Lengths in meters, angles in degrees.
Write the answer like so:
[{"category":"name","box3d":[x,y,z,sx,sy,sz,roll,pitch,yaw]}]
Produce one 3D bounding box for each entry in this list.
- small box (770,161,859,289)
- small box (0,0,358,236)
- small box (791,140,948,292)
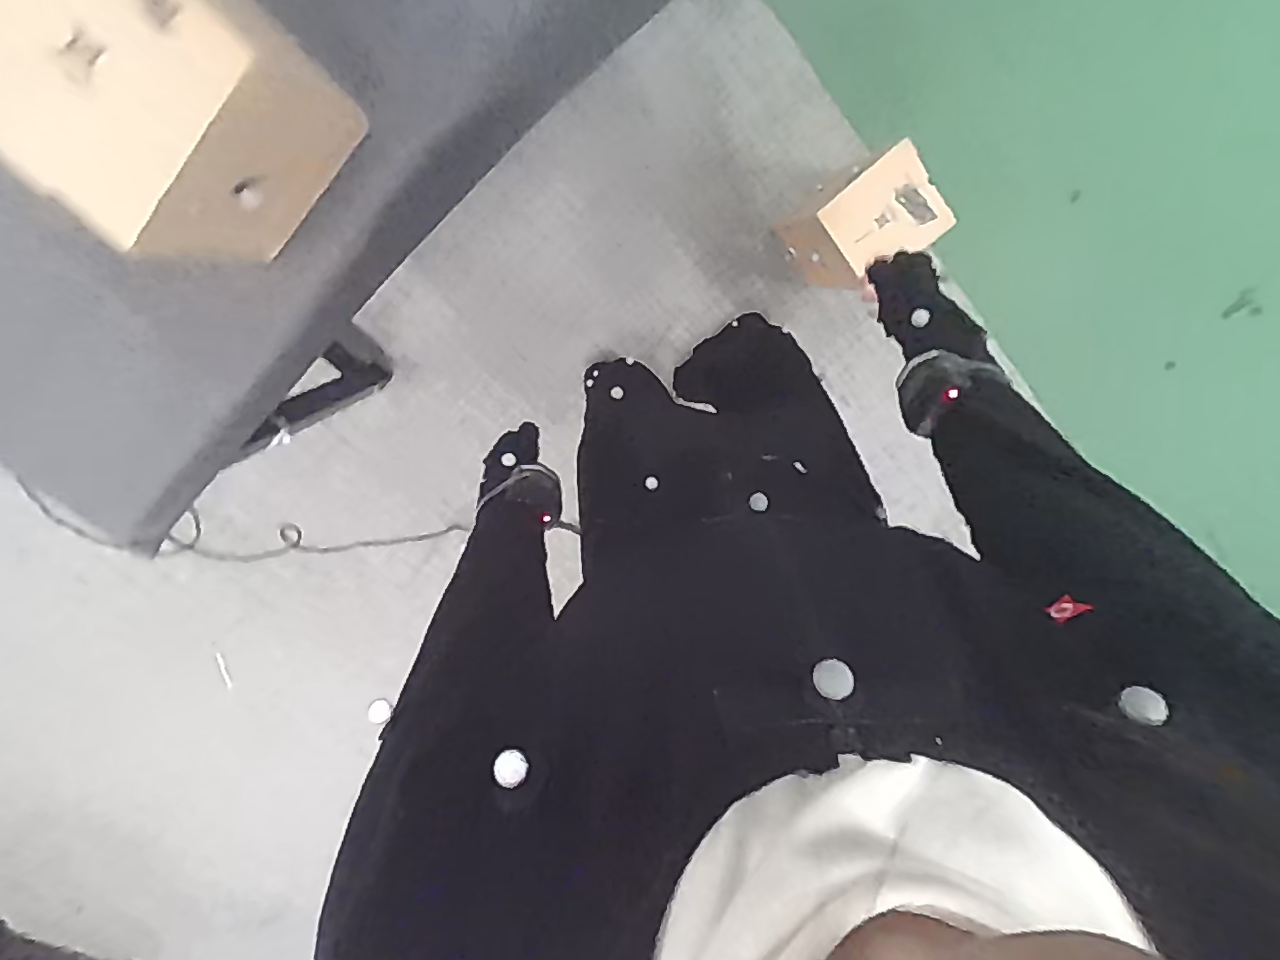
[{"category":"small box","box3d":[0.400,-0.527,1.135,0.179,0.176,0.168,-37,107,15]},{"category":"small box","box3d":[-0.366,-0.317,0.425,0.179,0.176,0.168,-41,106,15]},{"category":"small box","box3d":[0.404,-0.468,0.981,0.179,0.176,0.168,-37,107,14]}]
